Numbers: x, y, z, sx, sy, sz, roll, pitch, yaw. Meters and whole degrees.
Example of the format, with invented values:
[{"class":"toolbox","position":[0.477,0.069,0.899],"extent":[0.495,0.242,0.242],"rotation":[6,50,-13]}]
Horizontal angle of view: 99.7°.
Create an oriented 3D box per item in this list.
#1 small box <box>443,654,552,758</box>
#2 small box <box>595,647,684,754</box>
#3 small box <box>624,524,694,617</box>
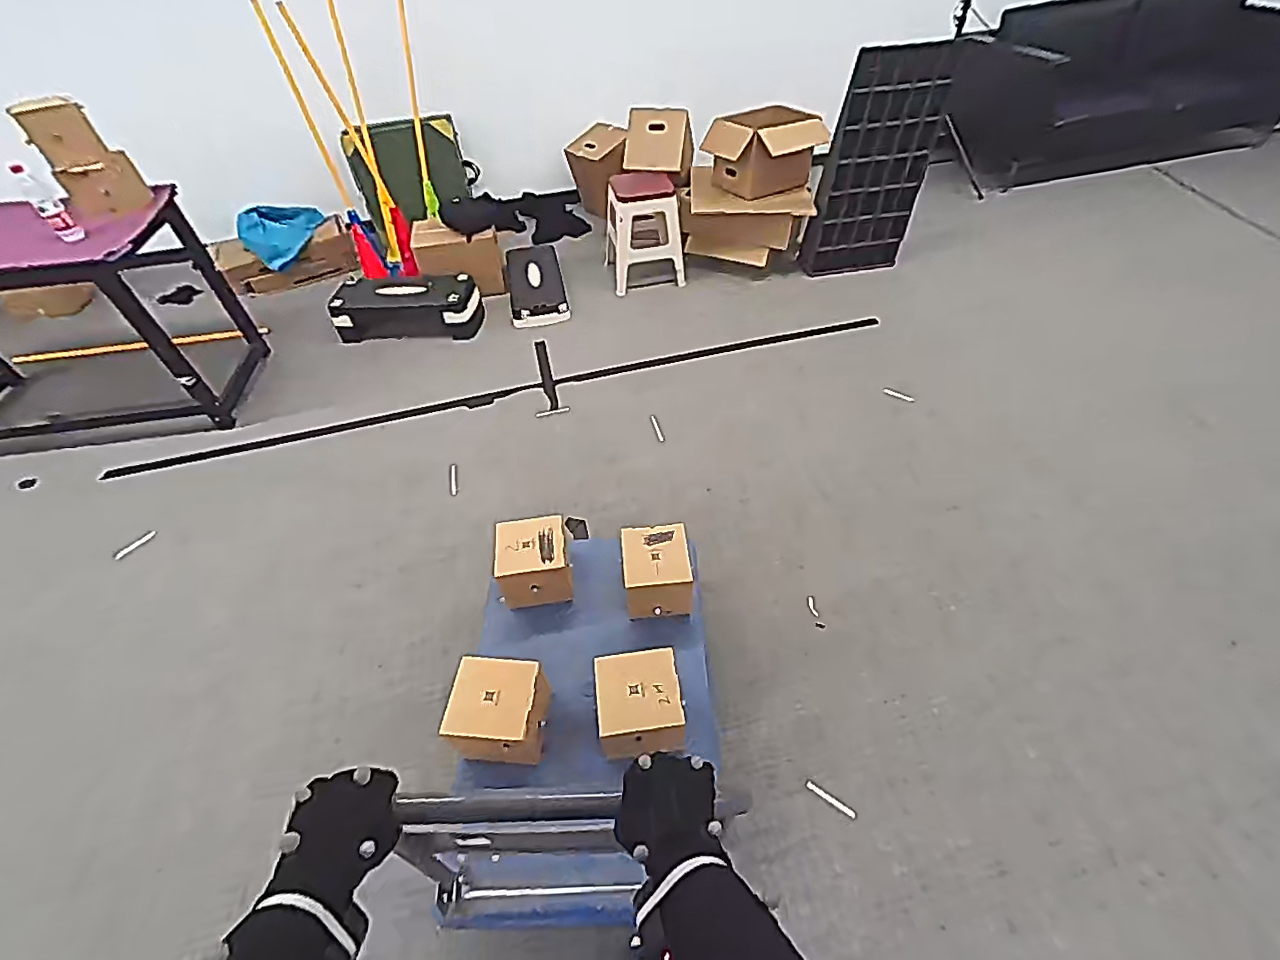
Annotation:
[{"class":"small box","position":[-0.305,0.503,1.198],"extent":[0.179,0.176,0.168],"rotation":[3,48,4]},{"class":"small box","position":[0.000,0.490,1.195],"extent":[0.179,0.176,0.168],"rotation":[-6,49,-3]},{"class":"small box","position":[0.045,0.238,1.416],"extent":[0.168,0.176,0.179],"rotation":[-5,50,-1]}]
